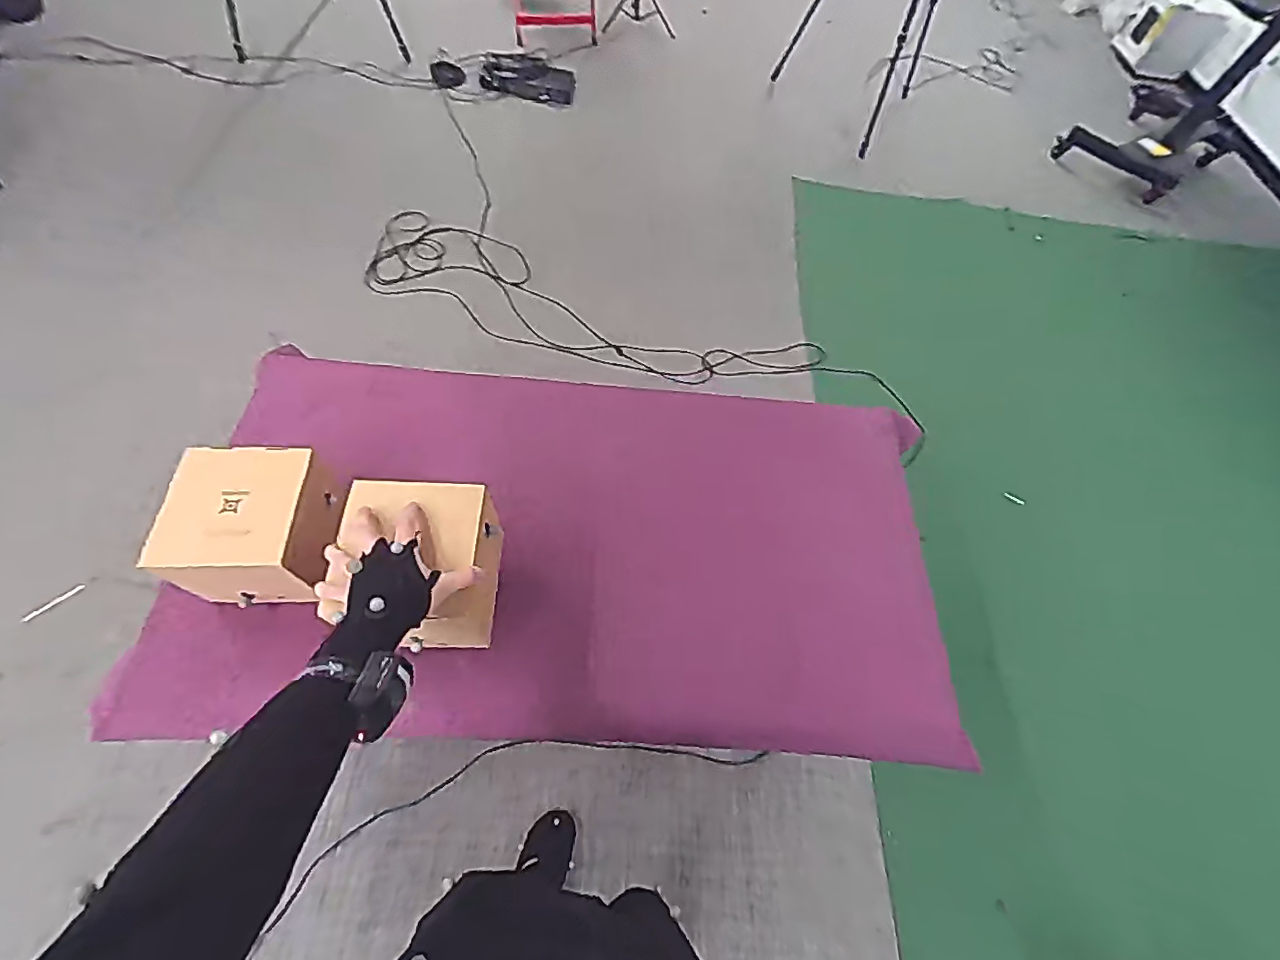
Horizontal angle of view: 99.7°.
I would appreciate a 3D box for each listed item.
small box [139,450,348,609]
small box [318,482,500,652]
[{"bbox_3d":[-0.543,0.075,0.778,0.168,0.176,0.179,1,61,-6],"label":"small box"},{"bbox_3d":[-0.287,0.121,0.722,0.168,0.176,0.179,2,62,-4],"label":"small box"}]
